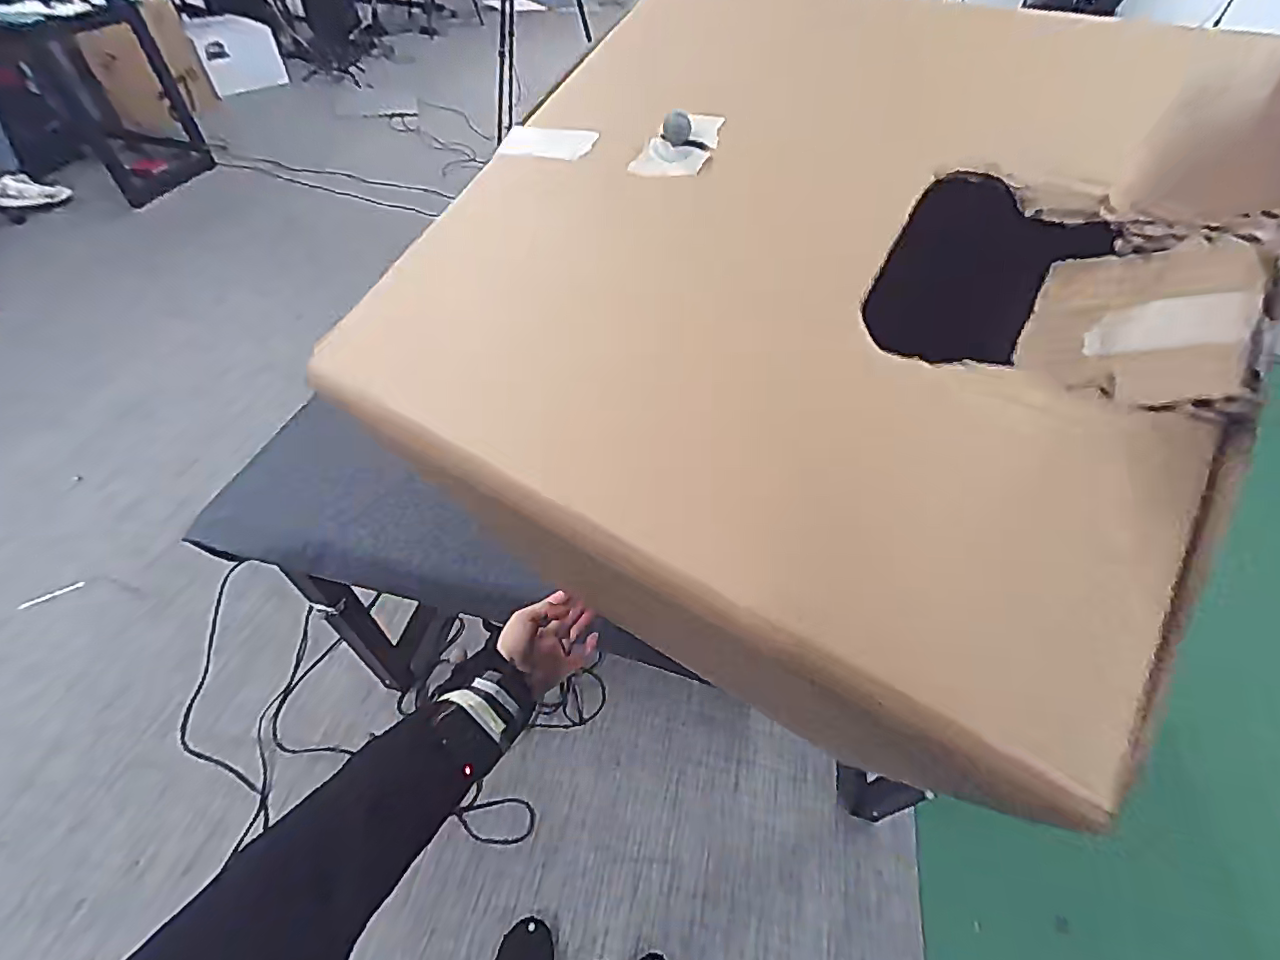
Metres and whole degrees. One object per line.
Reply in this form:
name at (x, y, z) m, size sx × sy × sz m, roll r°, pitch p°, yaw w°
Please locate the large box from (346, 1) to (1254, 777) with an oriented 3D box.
large box at (0.092, -0.029, 0.413) m, size 0.320 × 0.408 × 0.320 m, roll 26°, pitch 73°, yaw 19°
